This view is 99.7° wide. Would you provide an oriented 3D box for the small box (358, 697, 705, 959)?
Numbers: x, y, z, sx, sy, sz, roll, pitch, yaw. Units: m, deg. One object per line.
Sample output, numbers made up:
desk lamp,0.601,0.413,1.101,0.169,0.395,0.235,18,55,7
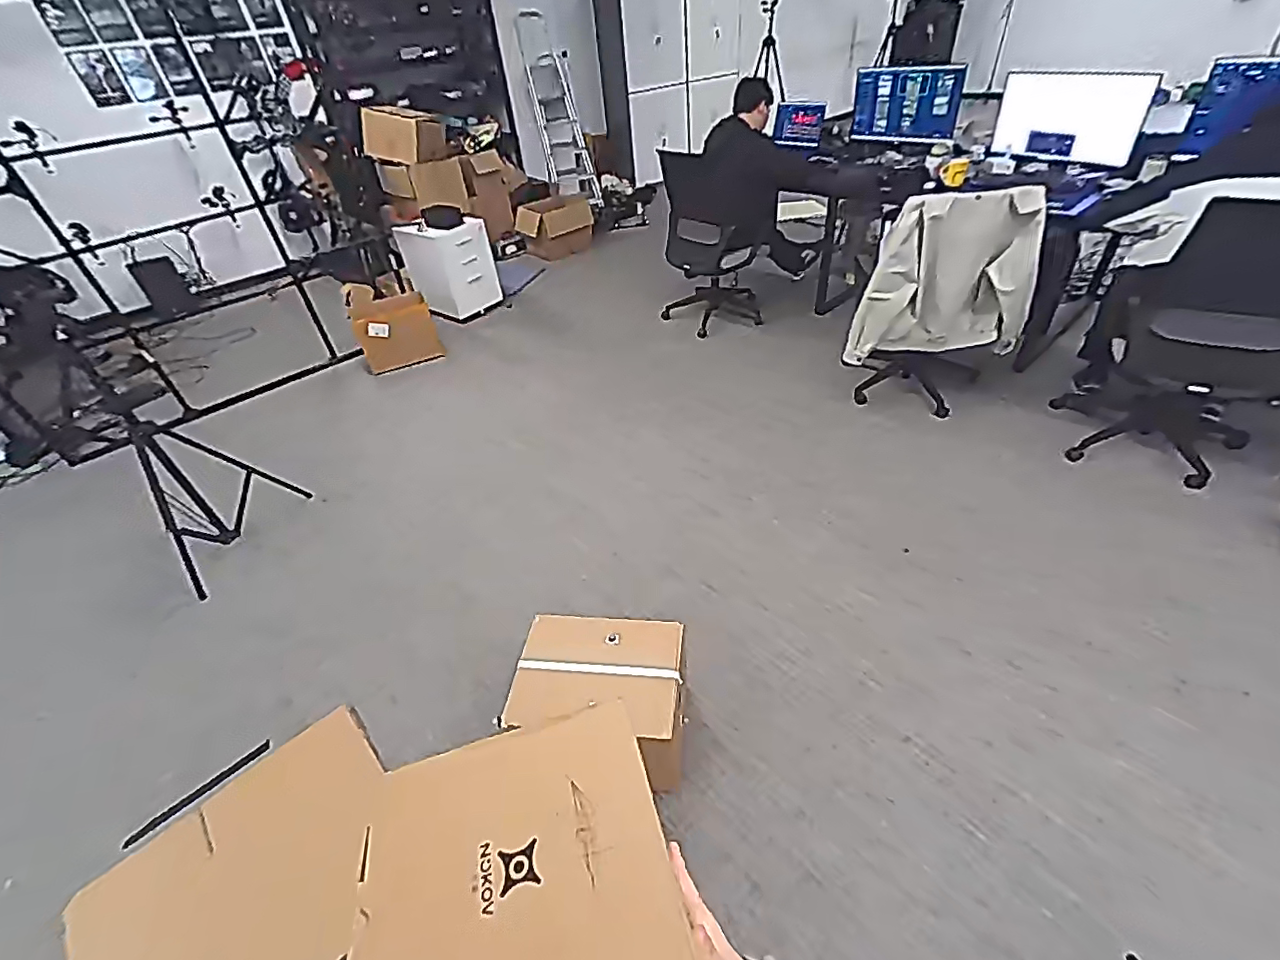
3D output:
small box,-0.060,0.283,0.354,0.179,0.176,0.168,-15,38,-10
